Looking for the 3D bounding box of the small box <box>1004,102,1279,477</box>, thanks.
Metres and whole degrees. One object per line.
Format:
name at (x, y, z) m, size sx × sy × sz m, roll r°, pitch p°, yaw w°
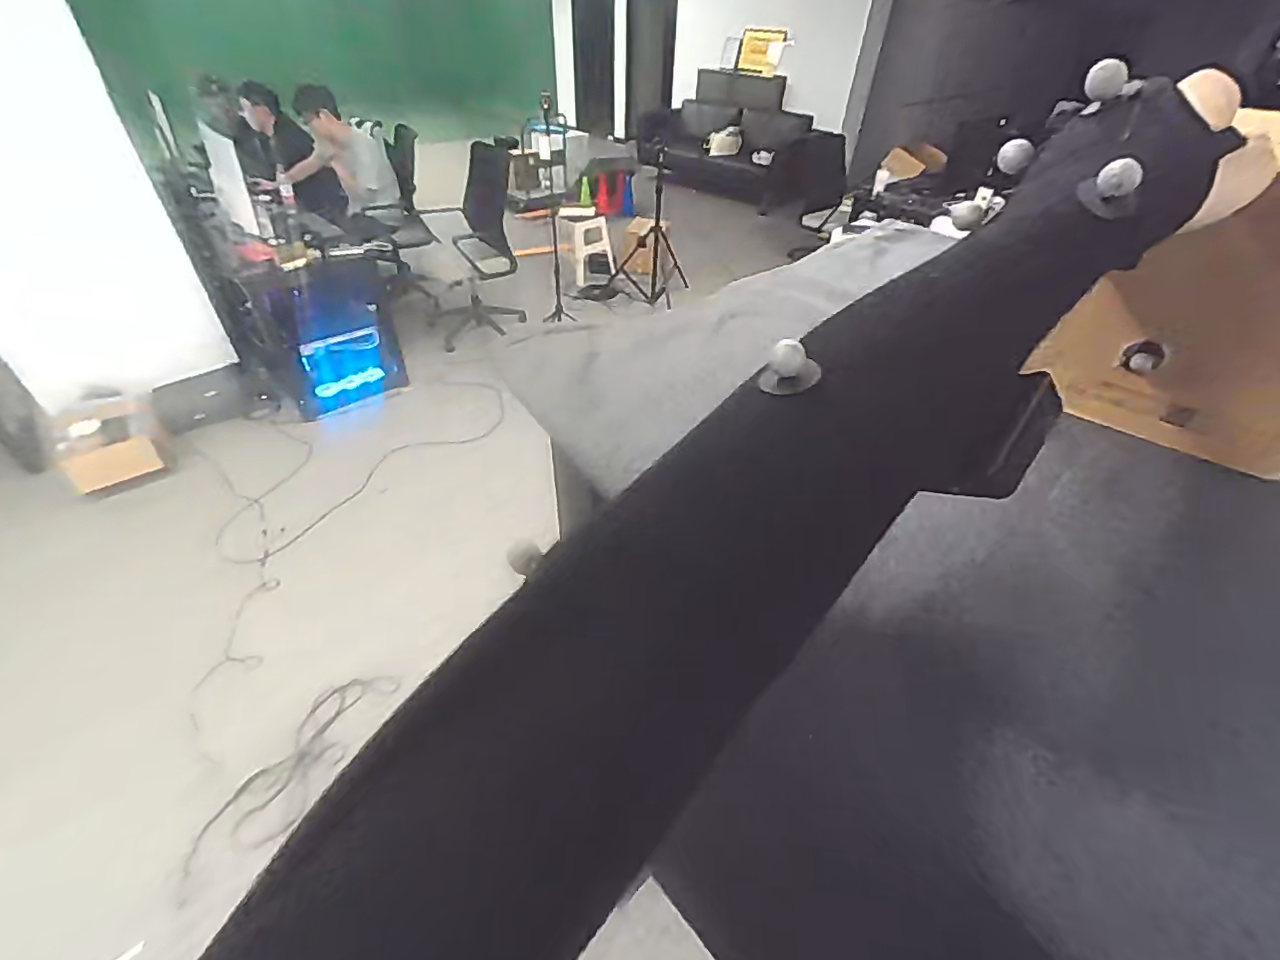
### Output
small box at (0.385, -0.135, 0.366) m, size 0.168 × 0.176 × 0.179 m, roll 30°, pitch 50°, yaw 27°
